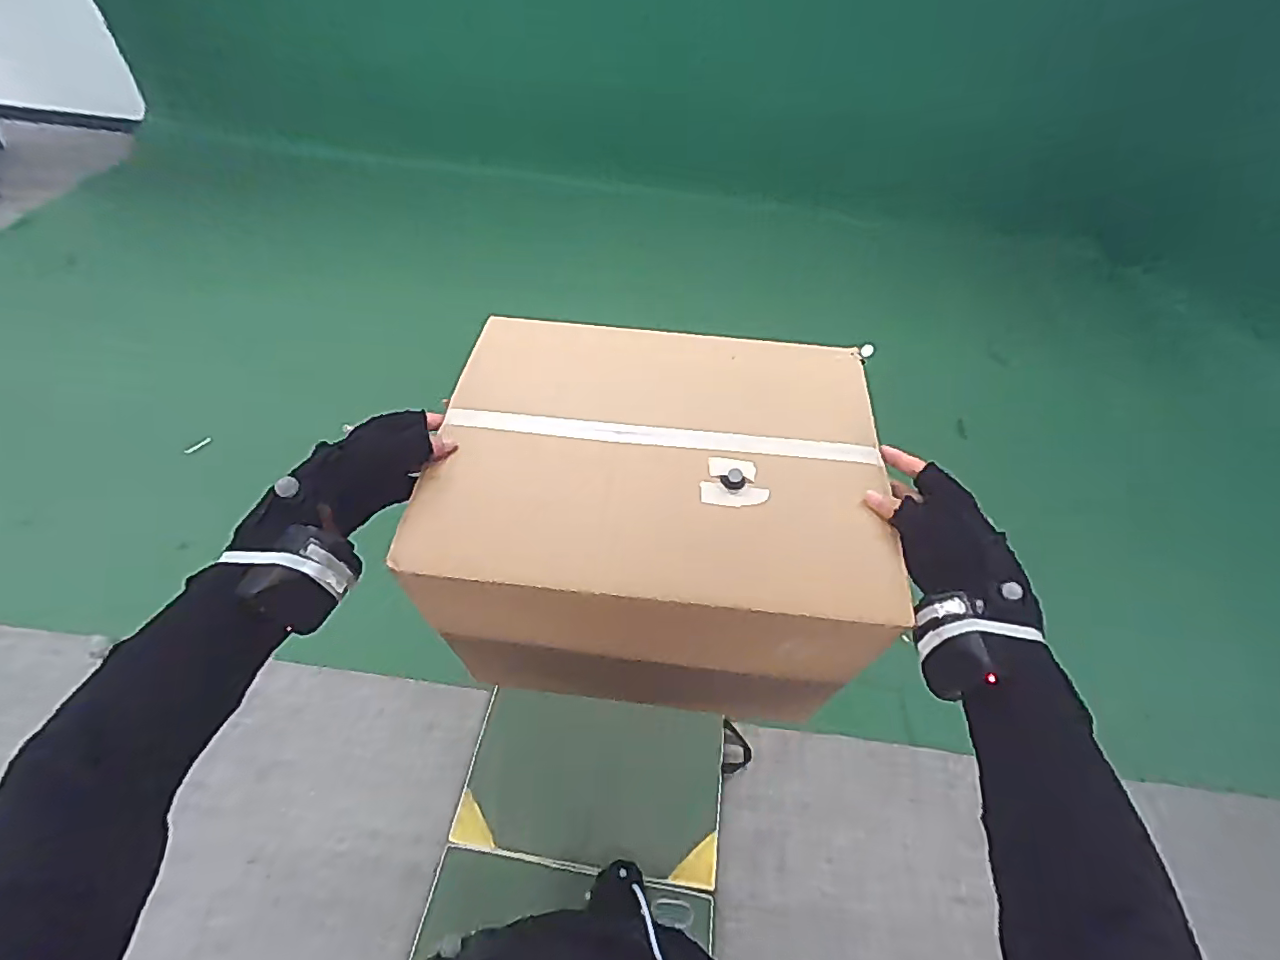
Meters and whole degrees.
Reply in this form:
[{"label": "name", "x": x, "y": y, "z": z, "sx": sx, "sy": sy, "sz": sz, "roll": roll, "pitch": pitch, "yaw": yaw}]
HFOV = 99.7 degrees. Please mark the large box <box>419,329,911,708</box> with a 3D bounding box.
[{"label": "large box", "x": 0.023, "y": 0.056, "z": 0.635, "sx": 0.408, "sy": 0.320, "sz": 0.320, "roll": 6, "pitch": 54, "yaw": 2}]
